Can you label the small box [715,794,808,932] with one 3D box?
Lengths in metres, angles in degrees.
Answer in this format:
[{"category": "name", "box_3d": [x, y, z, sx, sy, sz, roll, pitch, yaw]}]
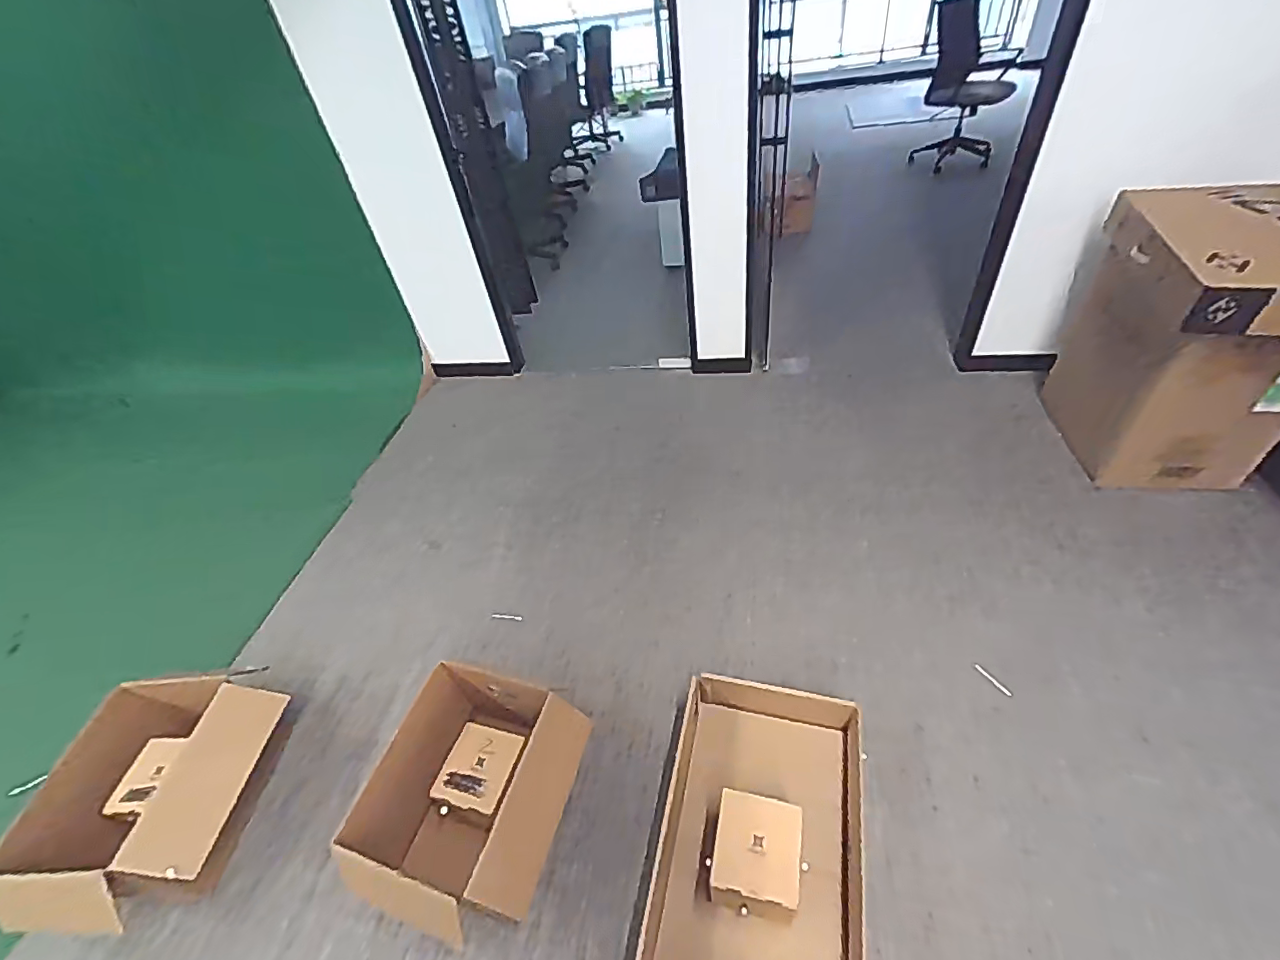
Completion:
[{"category": "small box", "box_3d": [0.247, 0.784, 1.108, 0.168, 0.176, 0.179, 5, 44, 15]}]
